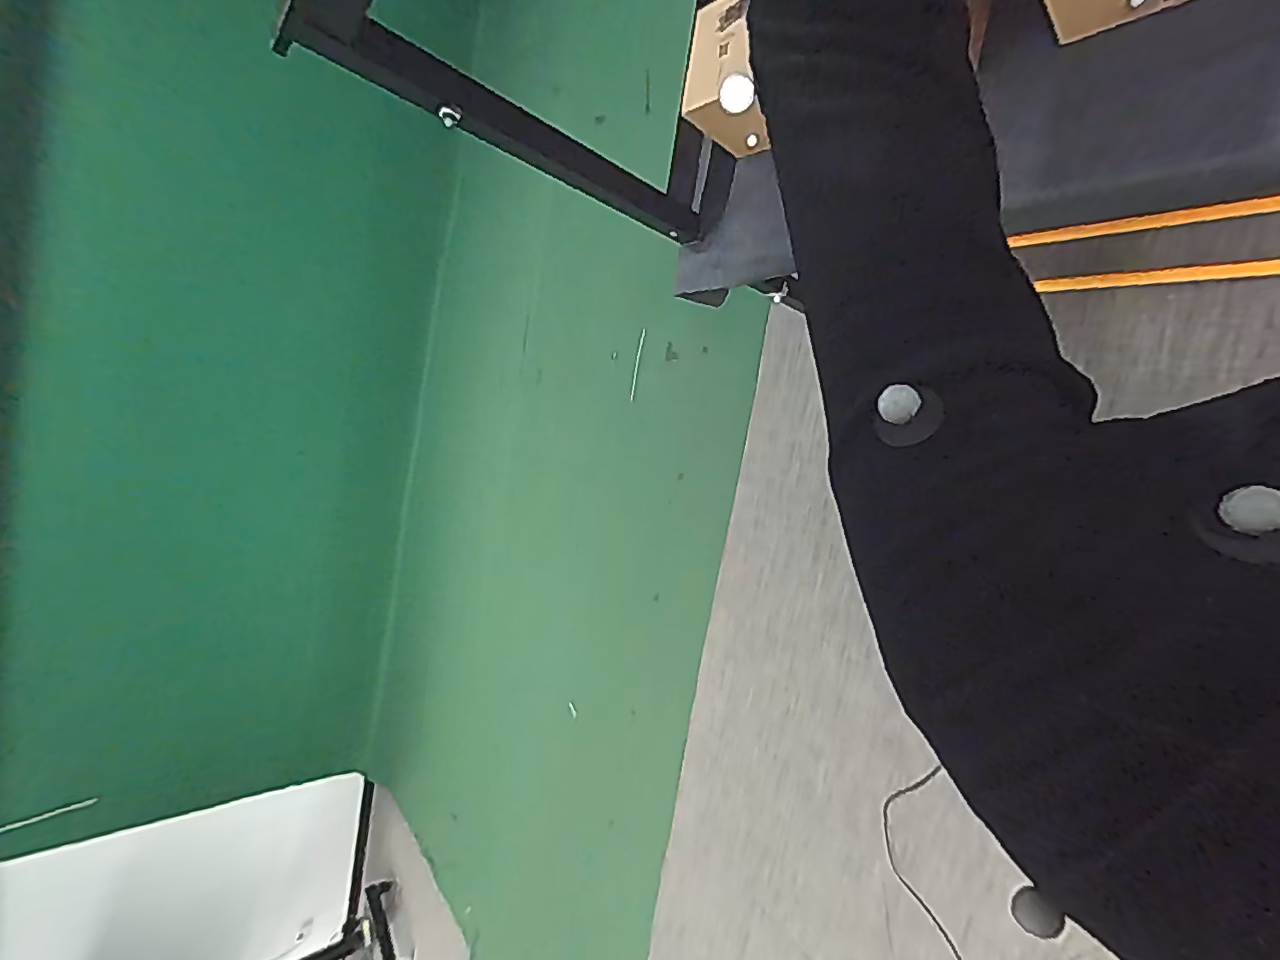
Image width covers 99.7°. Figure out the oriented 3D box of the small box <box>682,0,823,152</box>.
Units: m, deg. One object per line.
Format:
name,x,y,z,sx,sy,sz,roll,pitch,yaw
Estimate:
small box,0.201,-0.714,0.938,0.168,0.176,0.179,16,98,48
